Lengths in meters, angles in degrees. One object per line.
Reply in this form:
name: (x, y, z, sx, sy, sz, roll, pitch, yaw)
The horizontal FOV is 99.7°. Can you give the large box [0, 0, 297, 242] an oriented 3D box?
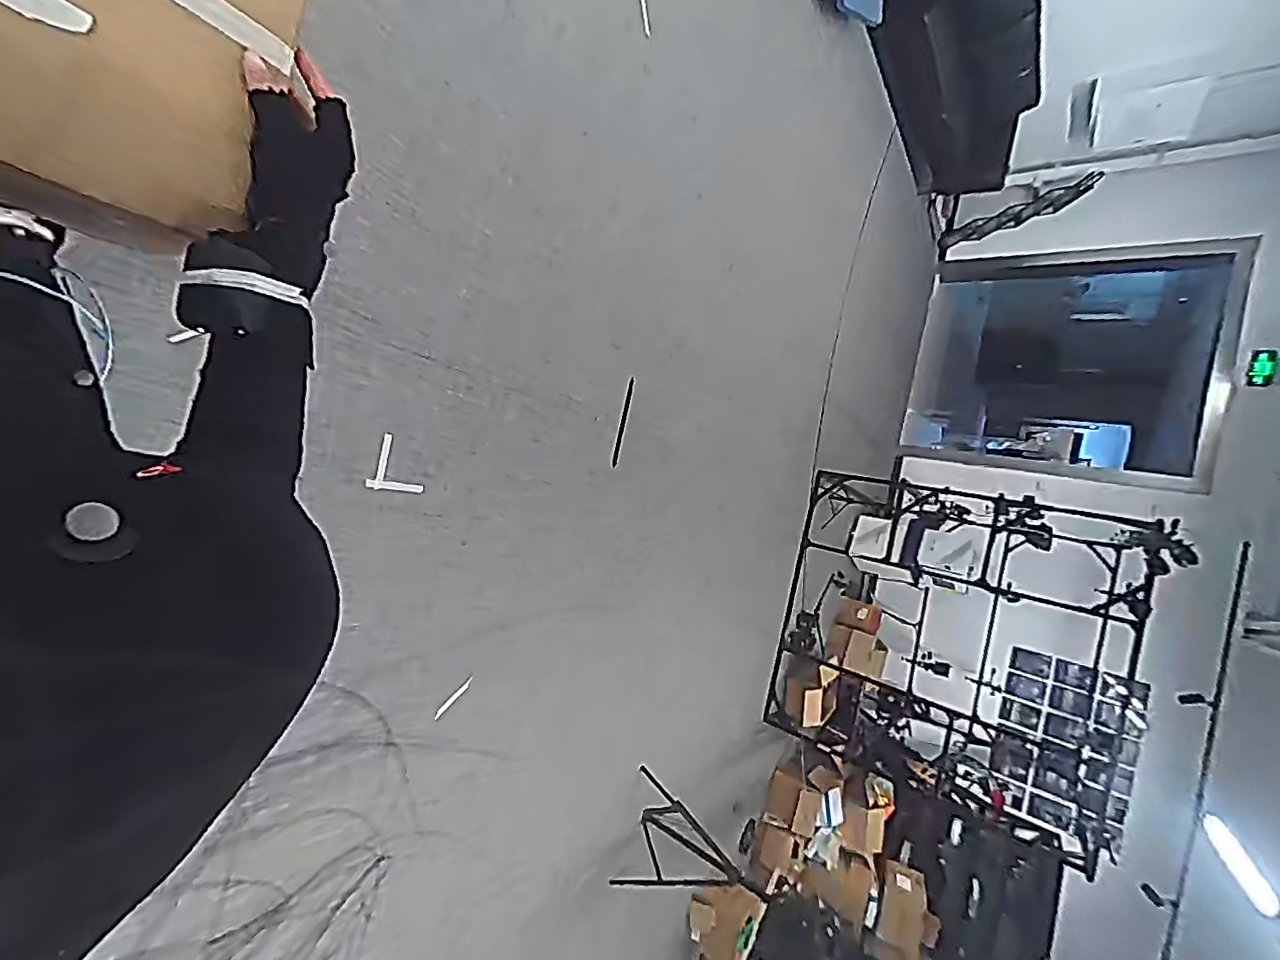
large box: (-0.522, -0.404, 0.370, 0.408, 0.320, 0.320, 13, 95, -54)
